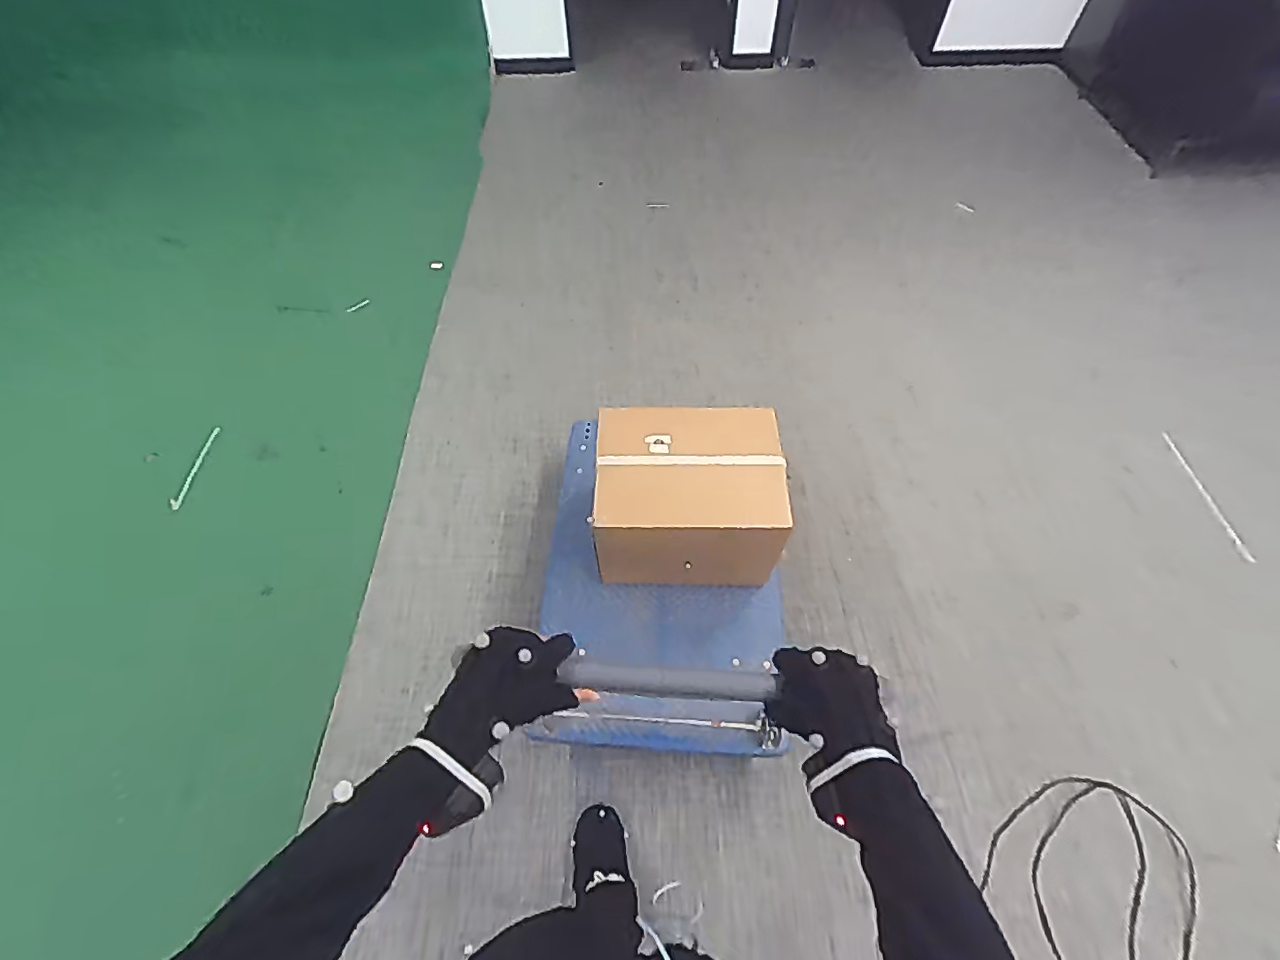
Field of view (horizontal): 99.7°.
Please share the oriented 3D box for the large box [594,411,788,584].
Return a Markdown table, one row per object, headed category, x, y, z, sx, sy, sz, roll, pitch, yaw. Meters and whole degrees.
| category | x | y | z | sx | sy | sz | roll | pitch | yaw |
| --- | --- | --- | --- | --- | --- | --- | --- | --- | --- |
| large box | 0.108 | 0.053 | 1.303 | 0.408 | 0.320 | 0.320 | -1 | 57 | 2 |
